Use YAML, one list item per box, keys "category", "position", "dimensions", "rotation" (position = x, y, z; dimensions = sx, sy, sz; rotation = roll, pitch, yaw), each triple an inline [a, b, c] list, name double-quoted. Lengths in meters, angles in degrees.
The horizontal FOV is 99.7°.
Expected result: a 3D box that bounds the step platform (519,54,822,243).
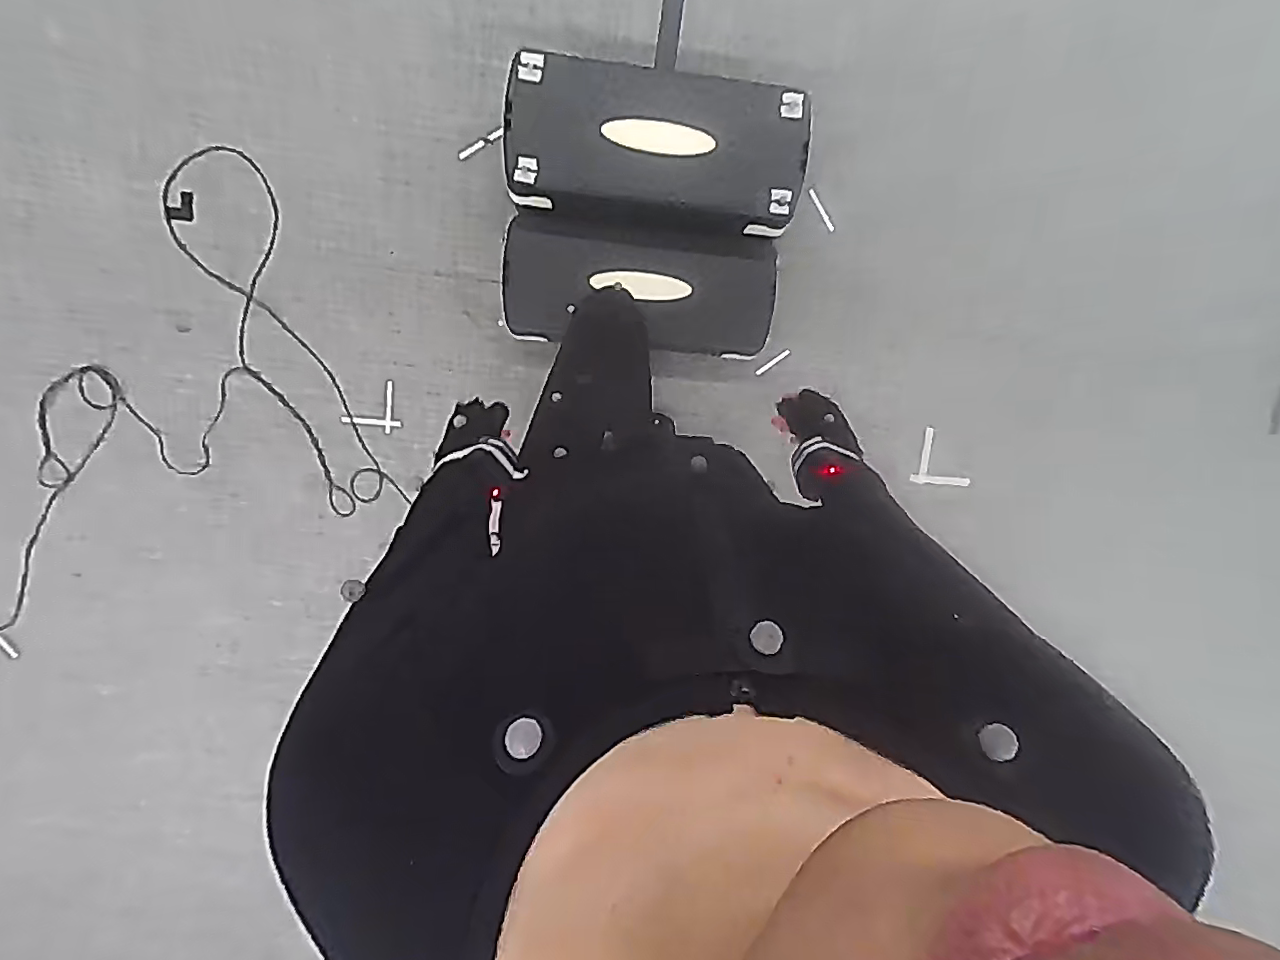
- category: "step platform"
  position: [0.066, -0.755, 1.261]
  dimensions: [0.684, 0.204, 0.286]
  rotation: [5, 99, -4]
